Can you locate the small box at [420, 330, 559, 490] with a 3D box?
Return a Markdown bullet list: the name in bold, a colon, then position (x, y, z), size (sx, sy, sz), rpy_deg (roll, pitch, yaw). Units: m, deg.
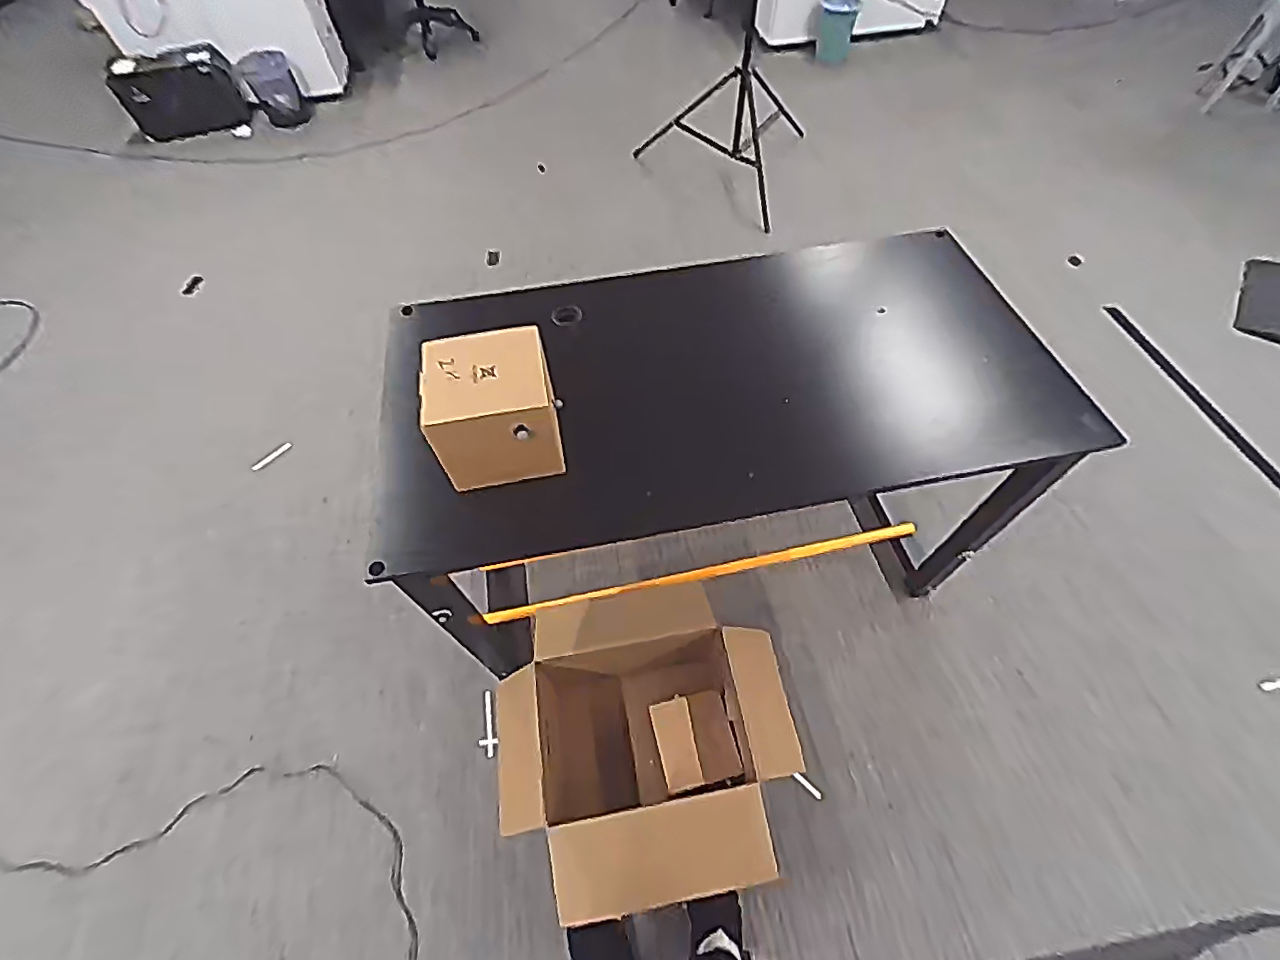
- **small box**: position (-0.226, -0.105, 0.844), size (0.179, 0.176, 0.168), rpy_deg (-10, 57, -5)
